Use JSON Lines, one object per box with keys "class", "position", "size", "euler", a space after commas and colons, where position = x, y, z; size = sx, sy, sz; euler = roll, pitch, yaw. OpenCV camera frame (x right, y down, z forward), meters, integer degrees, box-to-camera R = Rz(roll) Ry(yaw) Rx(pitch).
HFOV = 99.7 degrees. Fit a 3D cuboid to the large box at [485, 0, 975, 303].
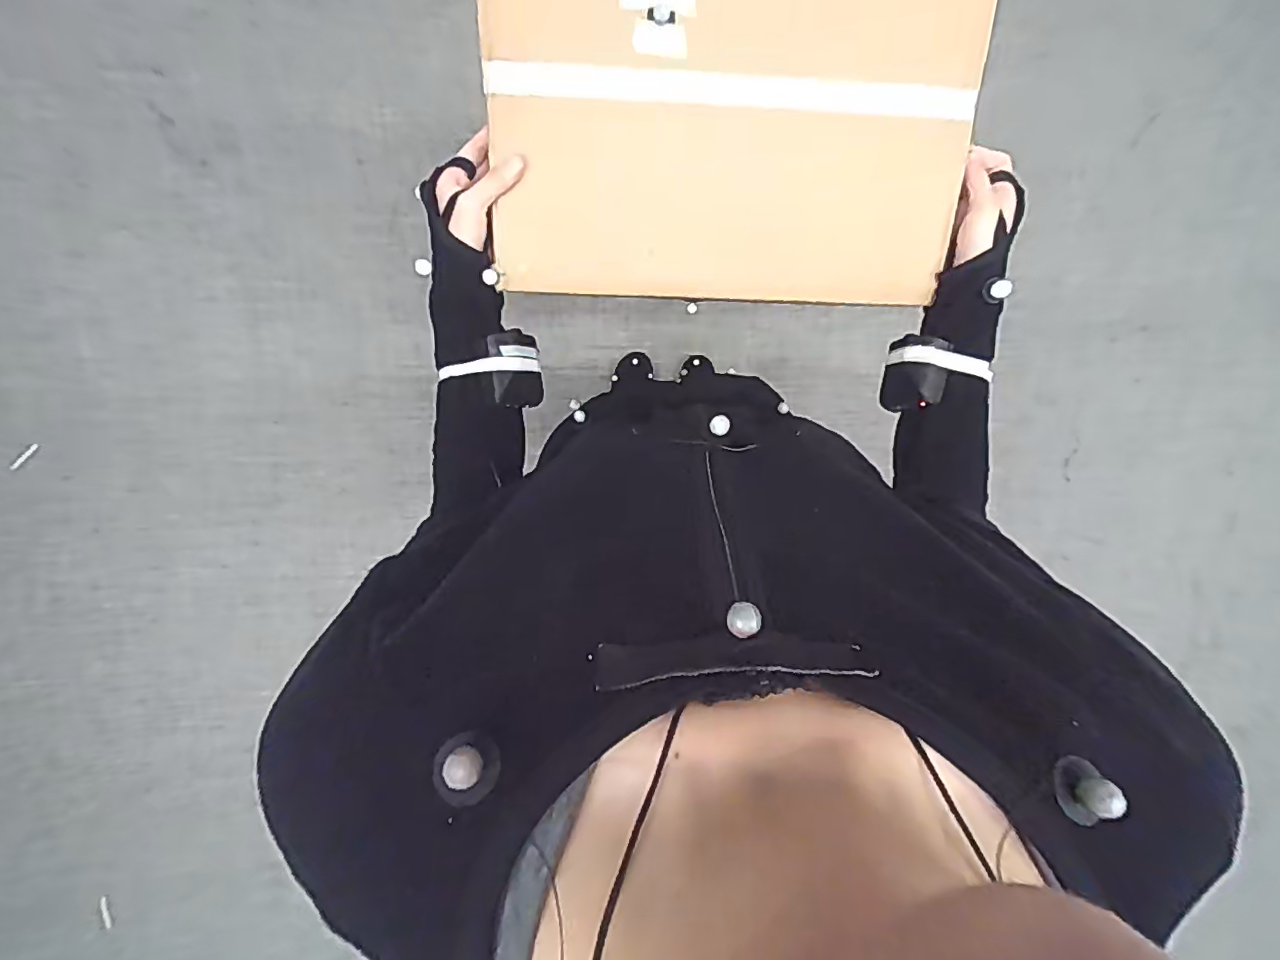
{"class": "large box", "position": [0.067, -0.366, 0.596], "size": [0.408, 0.320, 0.320], "euler": [0, 108, -4]}
